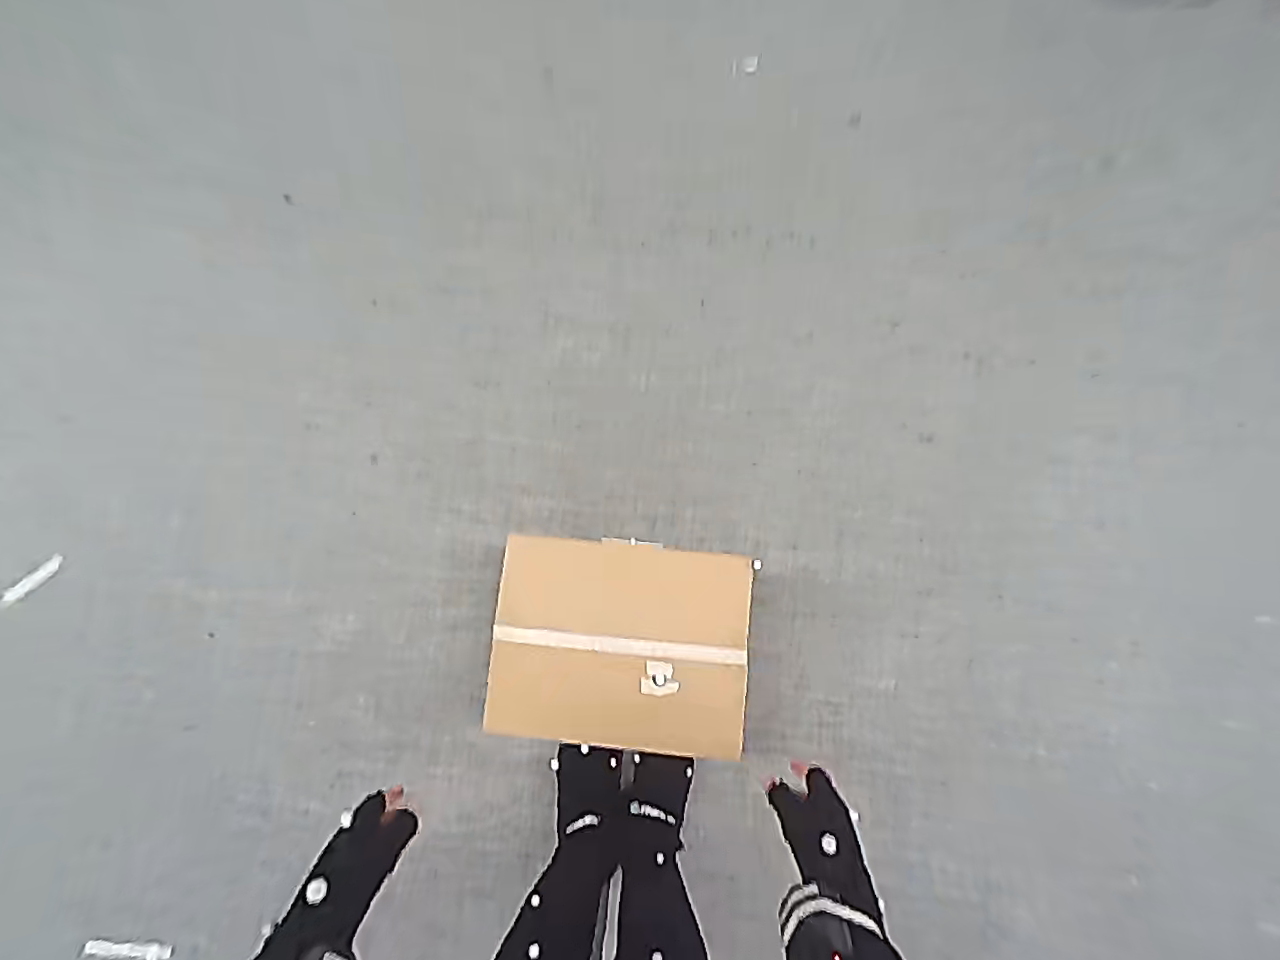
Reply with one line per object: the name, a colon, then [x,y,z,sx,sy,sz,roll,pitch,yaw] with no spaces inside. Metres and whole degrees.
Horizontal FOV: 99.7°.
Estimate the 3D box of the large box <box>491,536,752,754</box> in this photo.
large box: [-0.028,0.285,1.013,0.408,0.320,0.320,6,81,1]
